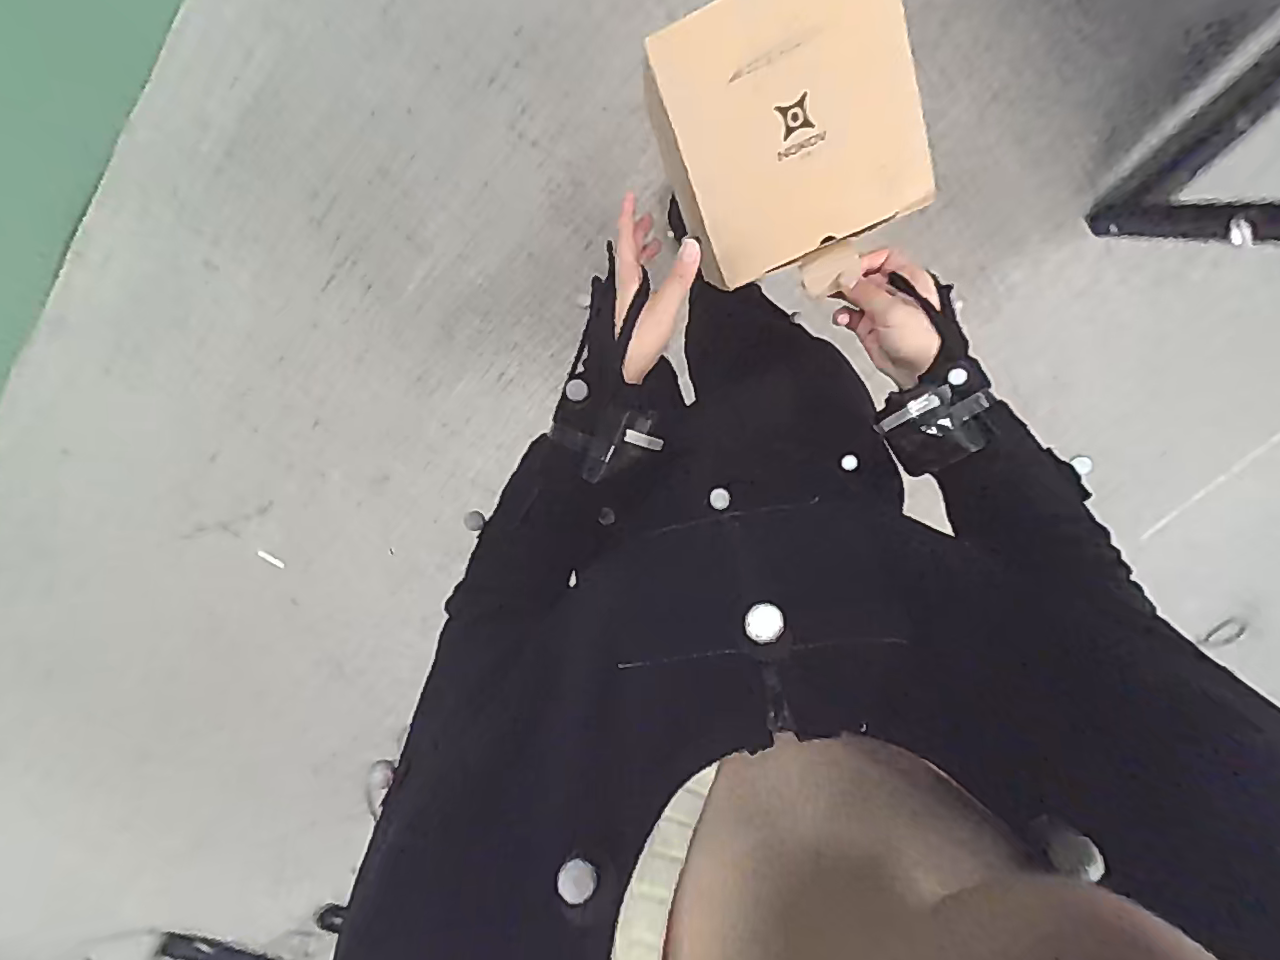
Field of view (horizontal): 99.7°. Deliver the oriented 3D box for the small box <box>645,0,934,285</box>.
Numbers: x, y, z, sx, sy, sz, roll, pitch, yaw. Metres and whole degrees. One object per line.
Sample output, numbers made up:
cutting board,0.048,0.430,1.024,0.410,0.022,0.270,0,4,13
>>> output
small box,0.111,-0.284,0.452,0.168,0.176,0.179,-21,111,8
